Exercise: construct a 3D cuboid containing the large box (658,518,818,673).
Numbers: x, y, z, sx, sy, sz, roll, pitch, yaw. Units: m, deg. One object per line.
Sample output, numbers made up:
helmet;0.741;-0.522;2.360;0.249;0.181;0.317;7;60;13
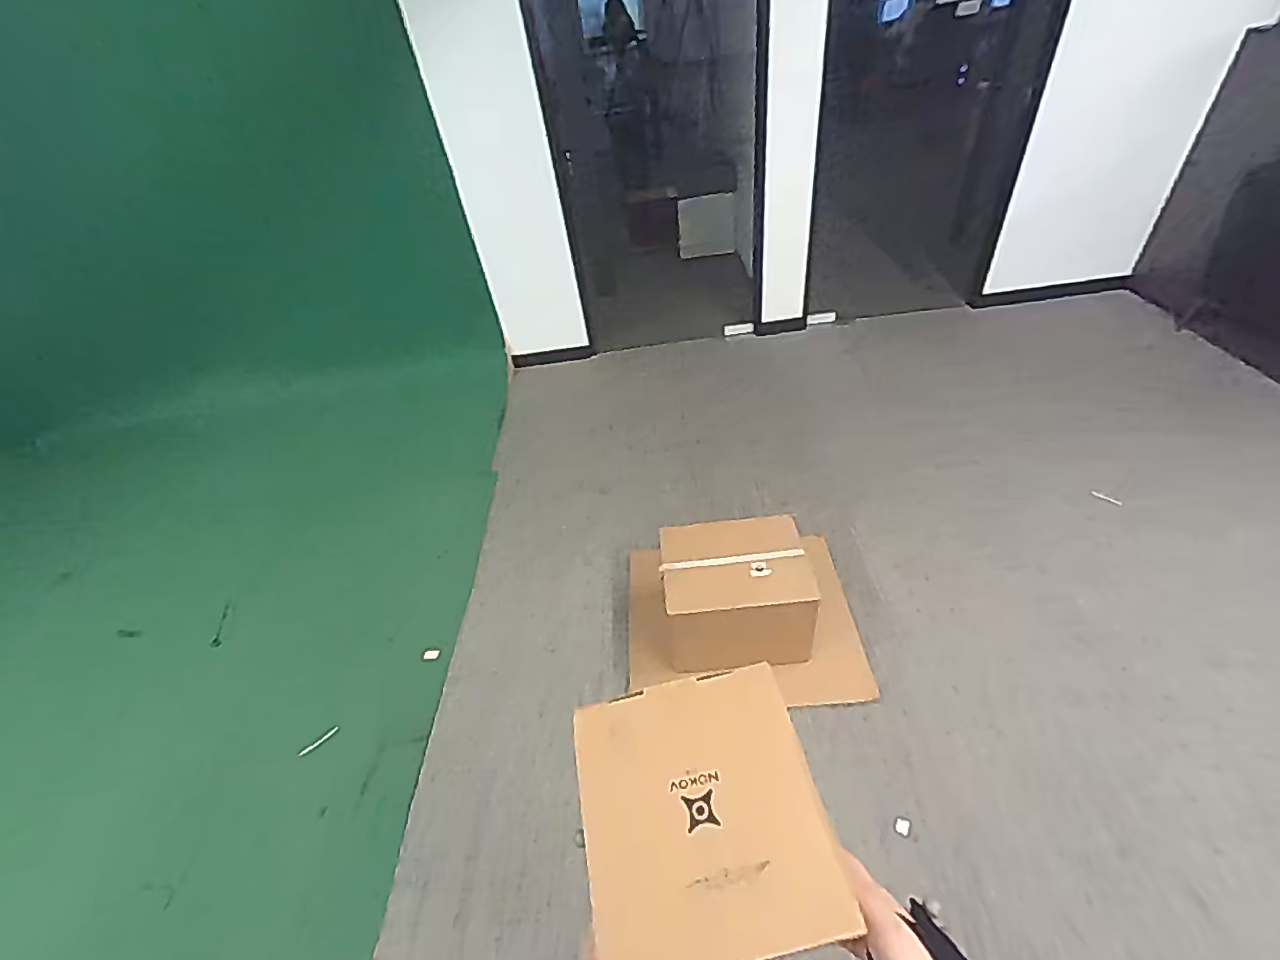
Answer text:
large box;0.272;0.345;1.609;0.408;0.320;0.320;-6;42;2
